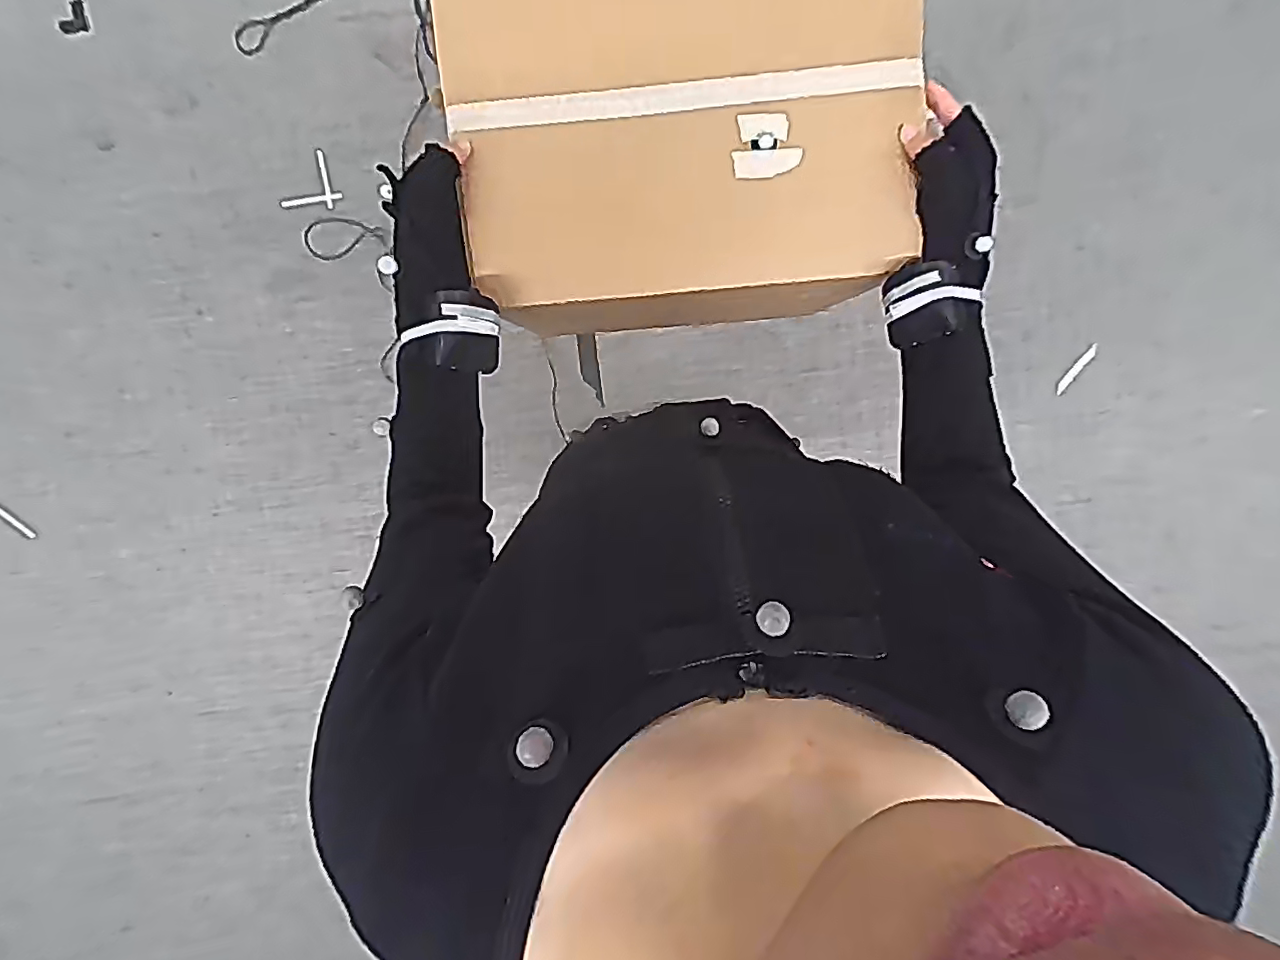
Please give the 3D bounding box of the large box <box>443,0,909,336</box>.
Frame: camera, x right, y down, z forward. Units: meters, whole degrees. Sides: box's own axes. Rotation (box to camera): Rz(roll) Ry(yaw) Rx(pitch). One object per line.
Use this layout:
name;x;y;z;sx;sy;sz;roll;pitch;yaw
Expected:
large box;0.036;-0.355;0.625;0.408;0.320;0.320;-5;101;0
